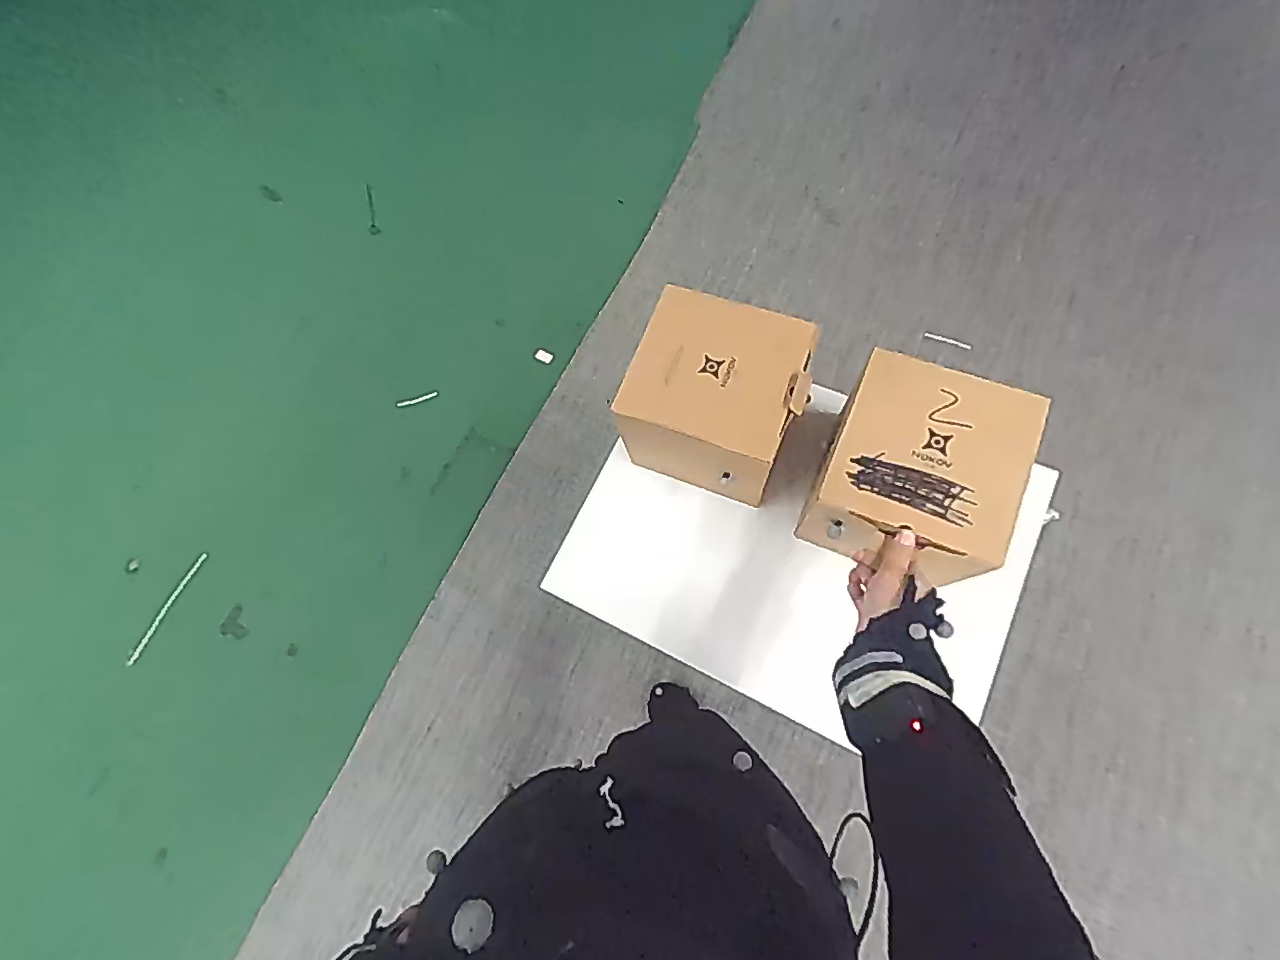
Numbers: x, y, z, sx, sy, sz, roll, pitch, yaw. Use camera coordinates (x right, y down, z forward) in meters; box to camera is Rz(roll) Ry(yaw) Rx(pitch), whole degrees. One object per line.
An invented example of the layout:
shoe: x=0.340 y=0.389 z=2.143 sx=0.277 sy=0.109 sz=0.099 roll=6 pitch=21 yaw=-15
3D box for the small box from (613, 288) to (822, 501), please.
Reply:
small box: x=0.090 y=-0.088 z=0.636 sx=0.179 sy=0.176 sz=0.168 roll=19 pitch=74 yaw=13
